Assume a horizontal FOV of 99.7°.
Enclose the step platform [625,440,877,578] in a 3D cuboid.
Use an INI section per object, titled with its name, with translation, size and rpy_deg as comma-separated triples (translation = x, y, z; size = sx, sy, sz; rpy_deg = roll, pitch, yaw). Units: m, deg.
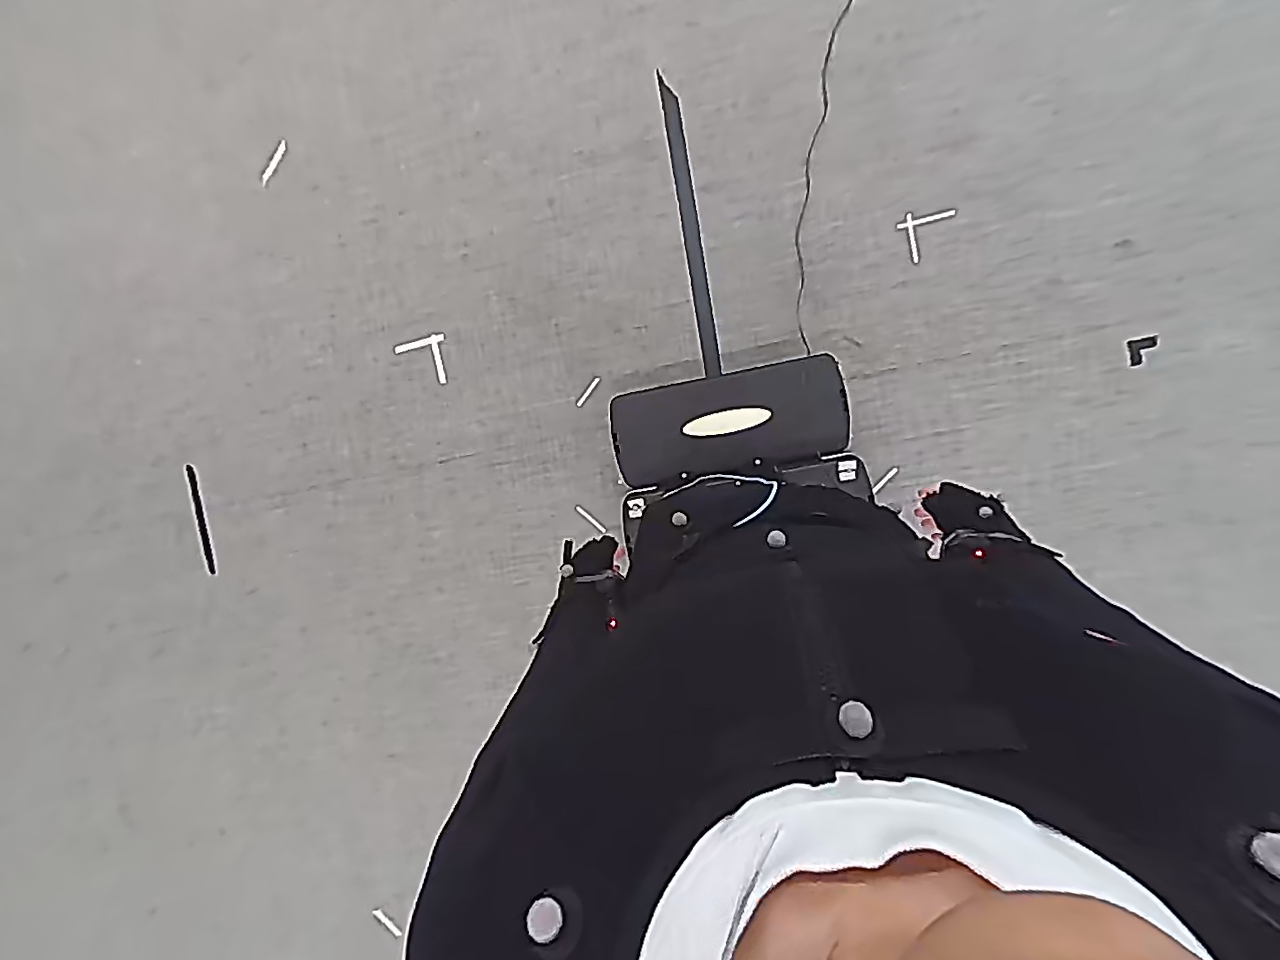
[step platform]
translation = 0.300, 0.085, 1.531
size = 0.684, 0.204, 0.286
rpy_deg = -11, 90, 10
